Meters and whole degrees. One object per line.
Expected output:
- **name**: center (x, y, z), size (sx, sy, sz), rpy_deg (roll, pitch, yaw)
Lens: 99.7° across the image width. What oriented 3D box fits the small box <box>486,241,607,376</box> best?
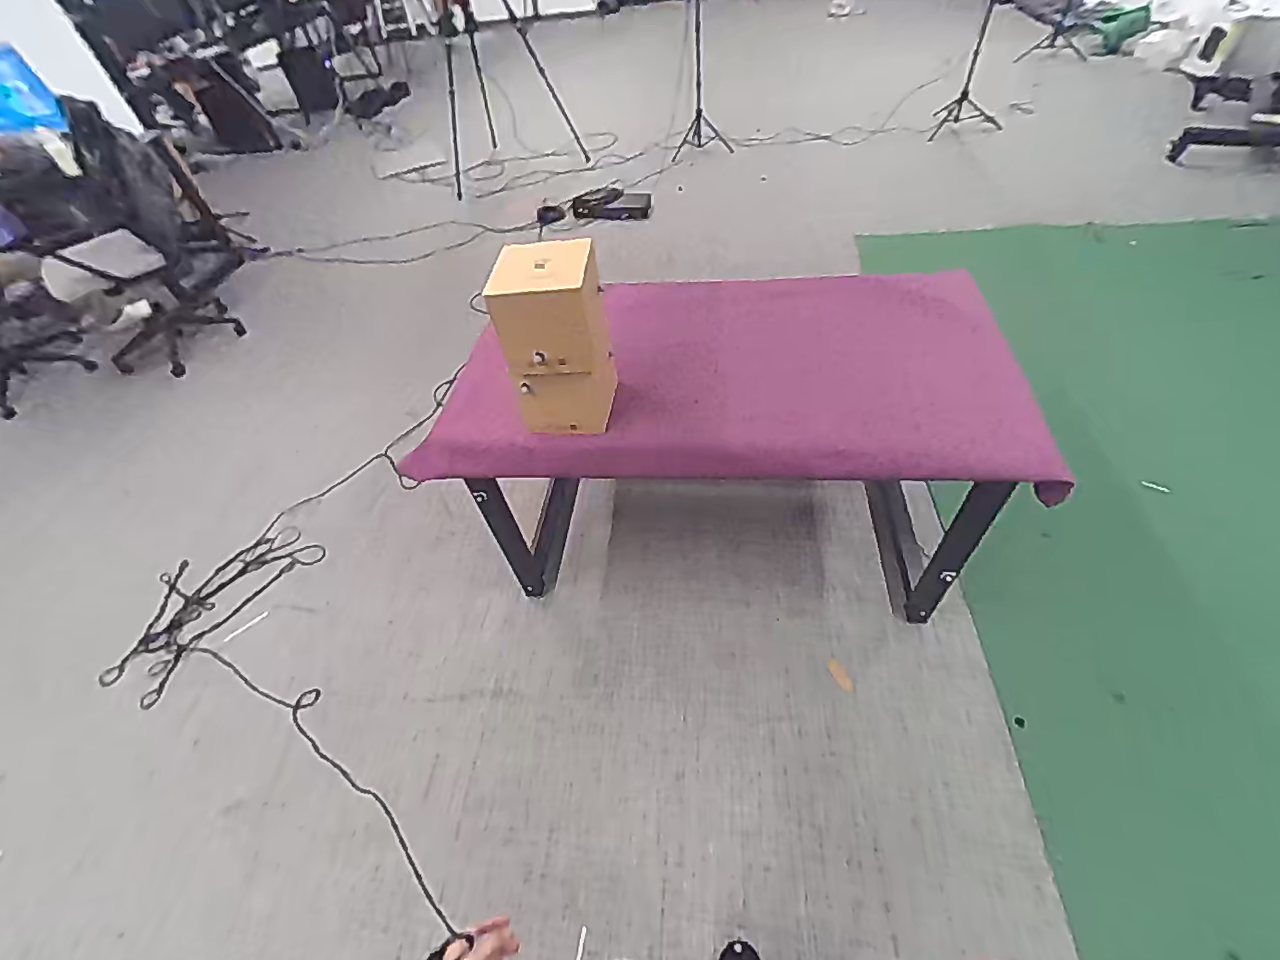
- **small box**: center (-0.155, -0.306, 0.970), size (0.168, 0.176, 0.179), rpy_deg (-1, 48, 6)
